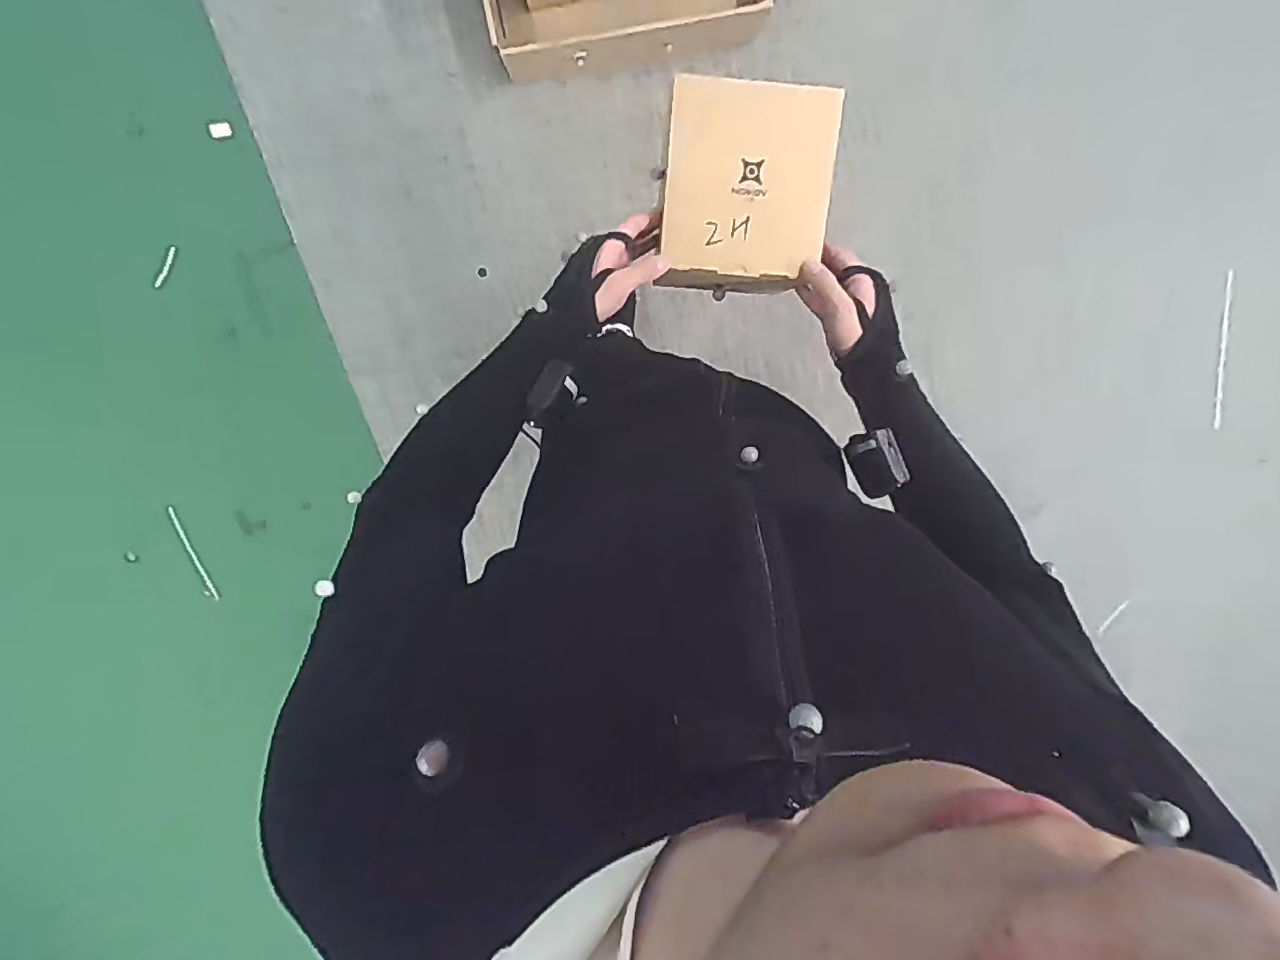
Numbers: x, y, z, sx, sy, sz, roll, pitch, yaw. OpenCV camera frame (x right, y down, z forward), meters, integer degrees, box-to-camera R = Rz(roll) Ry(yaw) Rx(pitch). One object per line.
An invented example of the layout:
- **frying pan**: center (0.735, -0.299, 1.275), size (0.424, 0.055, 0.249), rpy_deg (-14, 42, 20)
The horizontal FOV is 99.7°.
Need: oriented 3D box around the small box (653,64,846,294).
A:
- **small box**: center (0.105, -0.313, 0.601), size (0.168, 0.176, 0.179), rpy_deg (4, 103, -2)
